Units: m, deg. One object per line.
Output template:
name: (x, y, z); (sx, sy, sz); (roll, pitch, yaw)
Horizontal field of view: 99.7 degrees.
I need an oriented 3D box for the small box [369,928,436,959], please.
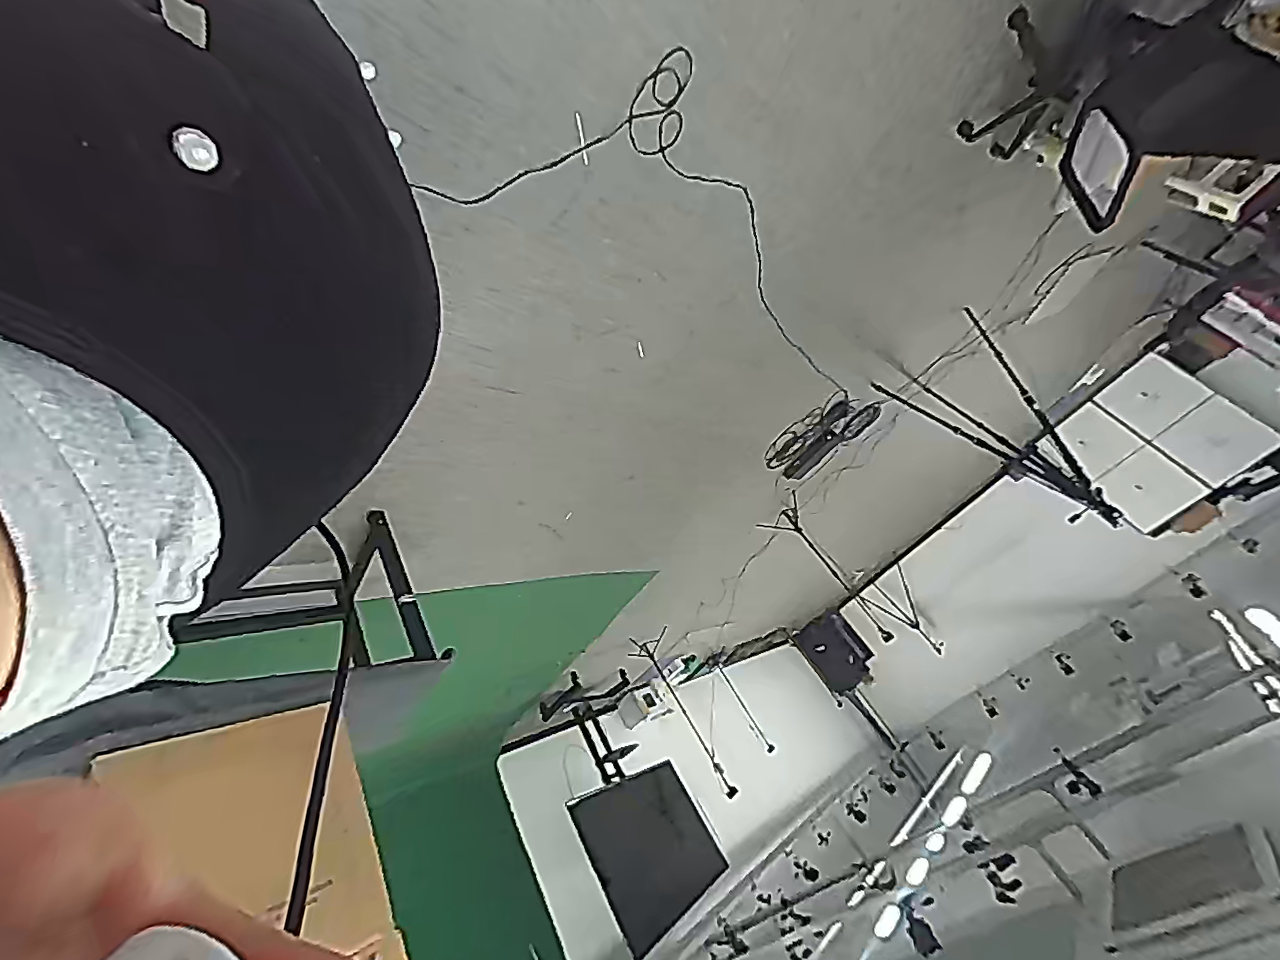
small box: (-0.595, 1.250, 1.320); (0.168, 0.176, 0.179); (-4, 136, -48)
